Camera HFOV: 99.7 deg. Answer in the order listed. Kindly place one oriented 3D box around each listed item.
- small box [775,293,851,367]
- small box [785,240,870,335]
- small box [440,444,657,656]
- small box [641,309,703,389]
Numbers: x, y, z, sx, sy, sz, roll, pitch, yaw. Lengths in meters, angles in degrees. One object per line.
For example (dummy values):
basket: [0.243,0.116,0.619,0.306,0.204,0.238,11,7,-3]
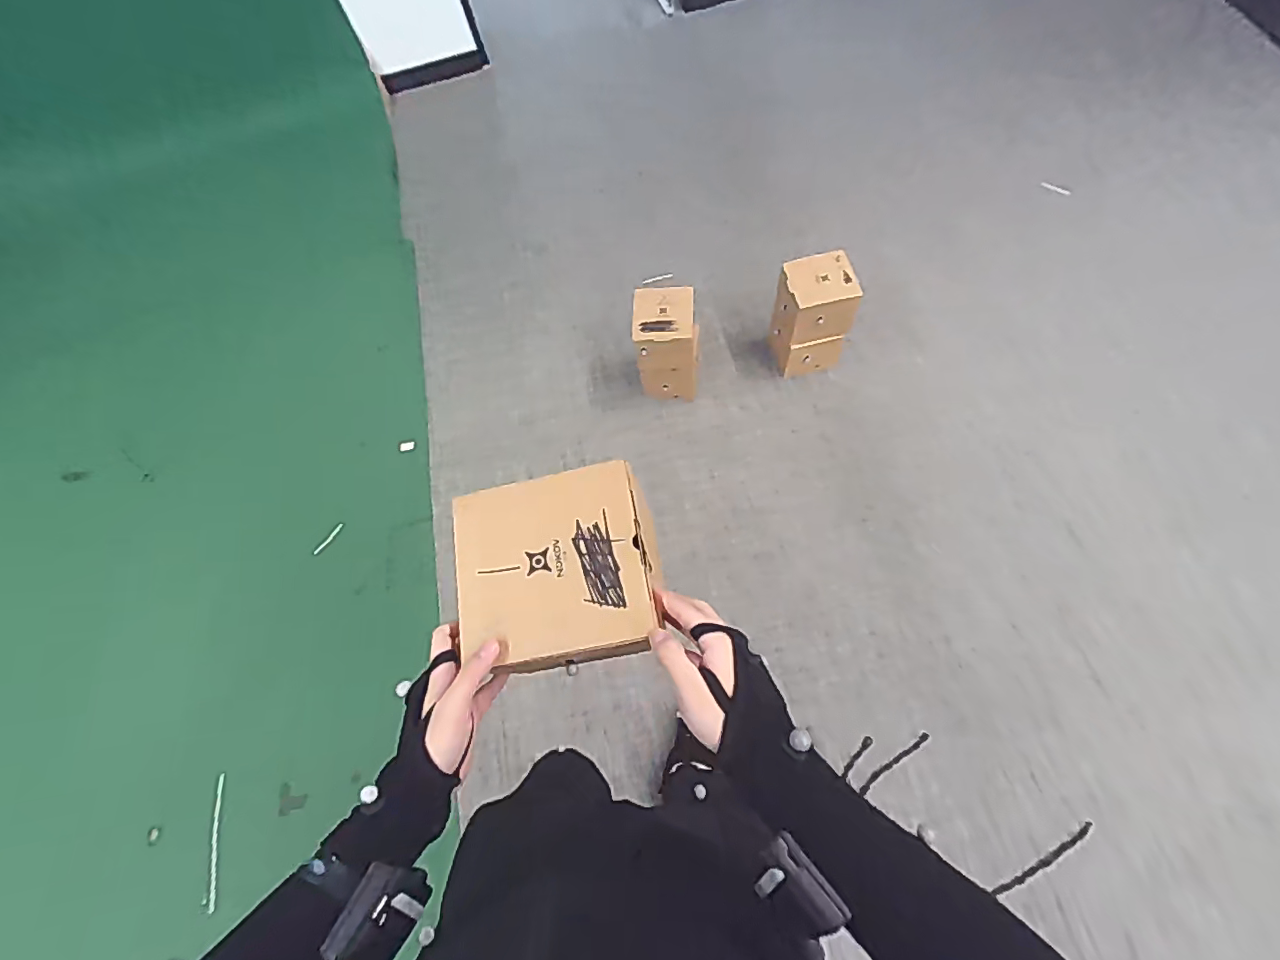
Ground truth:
small box: [0.521,-0.464,1.651,0.168,0.176,0.179,-12,68,2]
small box: [0.509,-0.526,1.499,0.179,0.176,0.168,-10,69,3]
small box: [-0.080,0.081,0.544,0.179,0.176,0.168,-10,70,5]
small box: [0.104,-0.400,1.671,0.168,0.176,0.179,7,70,9]
